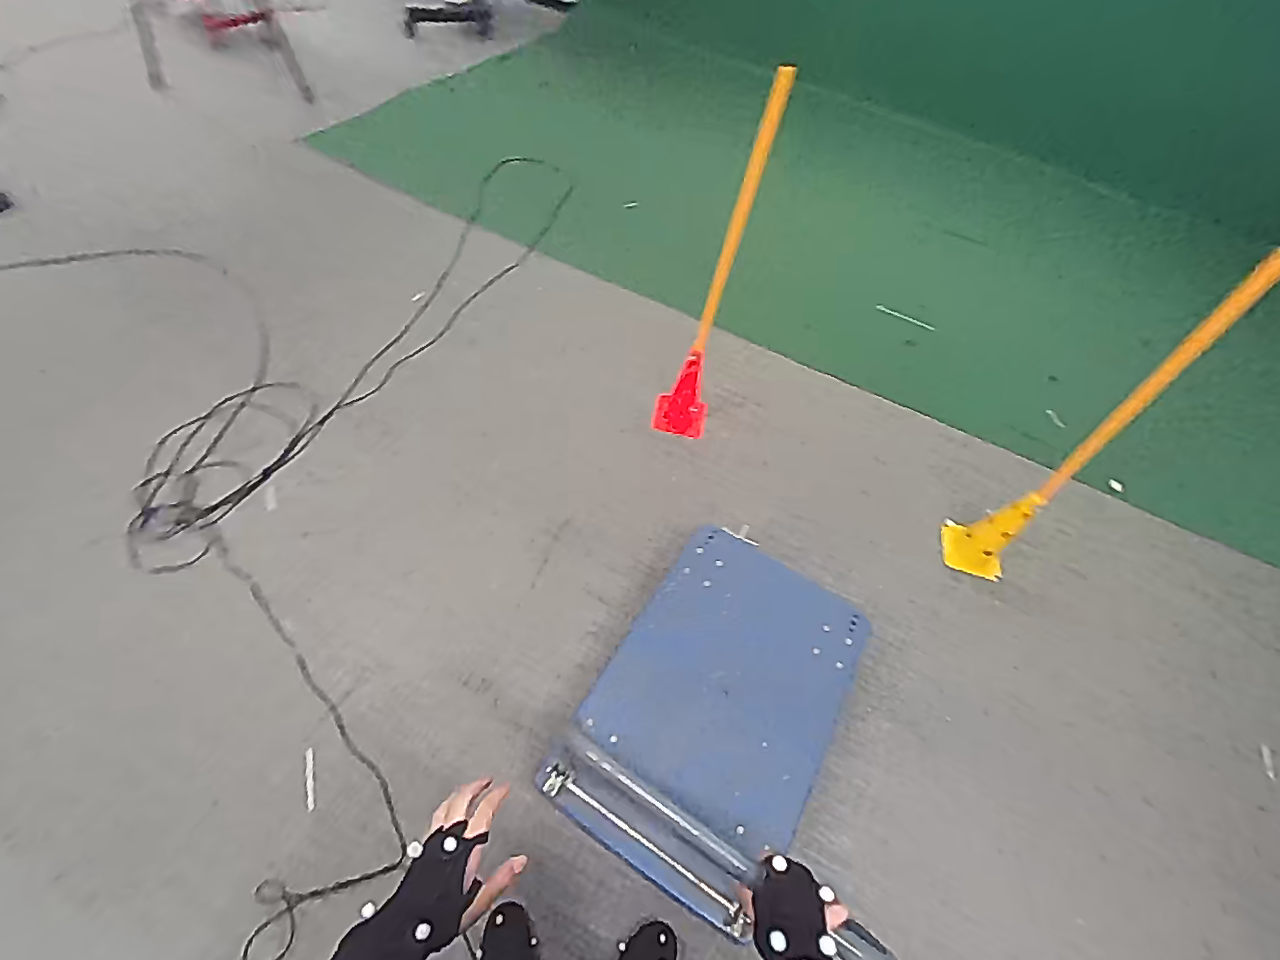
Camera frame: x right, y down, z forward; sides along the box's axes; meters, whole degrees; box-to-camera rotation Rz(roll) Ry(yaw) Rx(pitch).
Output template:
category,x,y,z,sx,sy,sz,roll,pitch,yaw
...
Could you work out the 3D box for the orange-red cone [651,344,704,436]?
category,x,y,z,sx,sy,sz,roll,pitch,yaw
orange-red cone,0.169,-0.362,2.029,0.199,0.360,0.198,13,54,2
